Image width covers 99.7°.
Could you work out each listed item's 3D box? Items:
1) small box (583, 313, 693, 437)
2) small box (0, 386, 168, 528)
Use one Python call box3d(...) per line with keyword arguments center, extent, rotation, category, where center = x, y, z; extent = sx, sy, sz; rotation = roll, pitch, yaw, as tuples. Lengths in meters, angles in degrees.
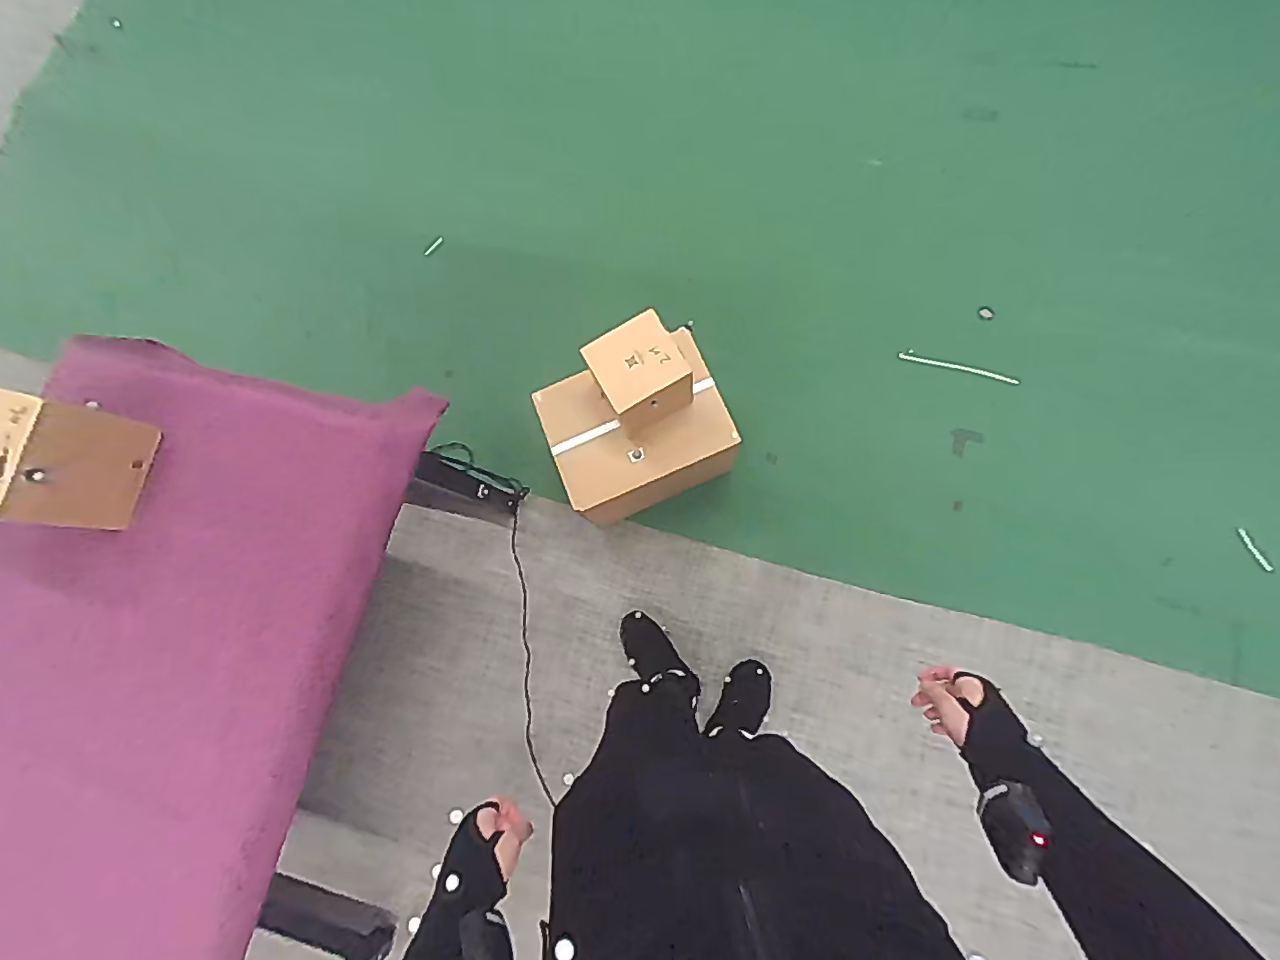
box3d(center=(0.003, -0.217, 1.164), extent=(0.179, 0.176, 0.168), rotation=(-30, 76, -2), category="small box")
box3d(center=(-0.860, -0.031, 0.784), extent=(0.179, 0.176, 0.168), rotation=(13, 82, 7), category="small box")
